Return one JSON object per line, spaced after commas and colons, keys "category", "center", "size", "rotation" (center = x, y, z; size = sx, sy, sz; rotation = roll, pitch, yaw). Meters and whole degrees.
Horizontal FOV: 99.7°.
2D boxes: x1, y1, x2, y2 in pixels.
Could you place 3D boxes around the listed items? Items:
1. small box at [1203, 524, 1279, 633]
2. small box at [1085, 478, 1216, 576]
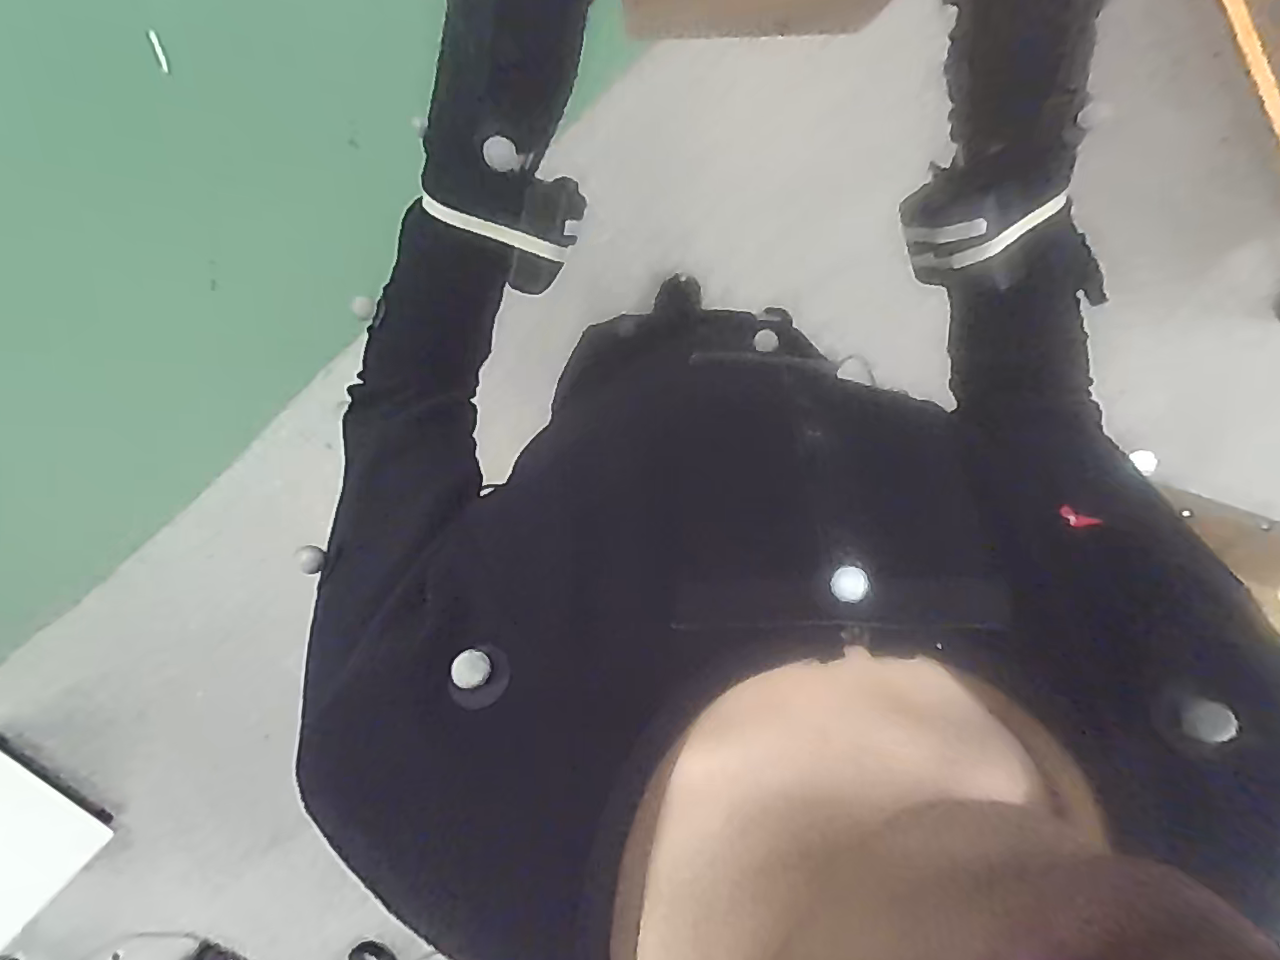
{"category": "small box", "center": [1.373, 0.213, 1.148], "size": [0.168, 0.176, 0.179], "rotation": [-35, 104, 10]}
{"category": "small box", "center": [1.370, 0.120, 1.461], "size": [0.168, 0.176, 0.179], "rotation": [-34, 104, 9]}
